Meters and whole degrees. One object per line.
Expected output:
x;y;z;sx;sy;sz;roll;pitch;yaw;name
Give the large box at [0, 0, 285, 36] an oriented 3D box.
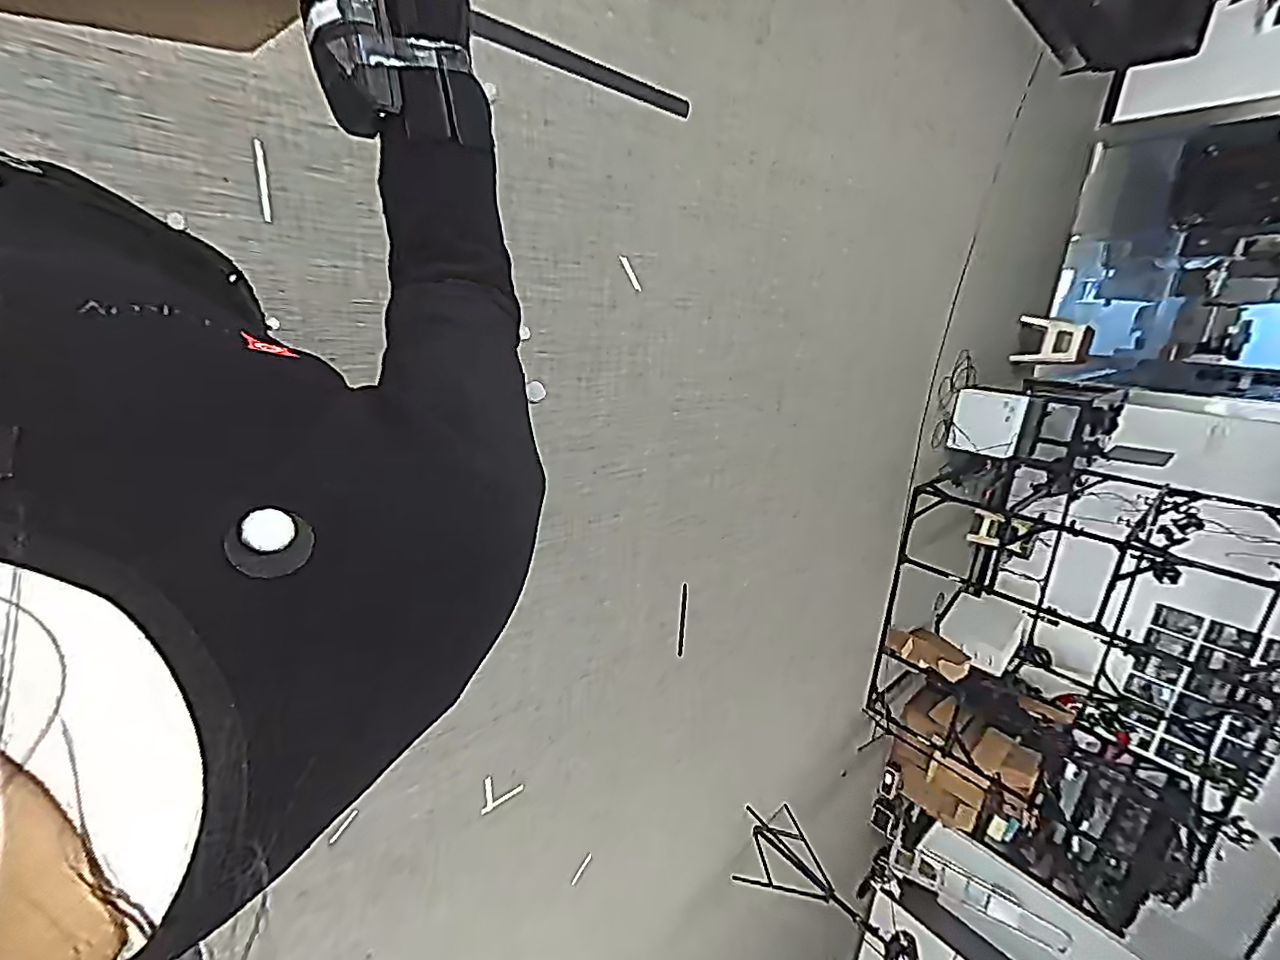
-0.410;-0.423;0.213;0.408;0.320;0.320;-21;128;-37;large box
